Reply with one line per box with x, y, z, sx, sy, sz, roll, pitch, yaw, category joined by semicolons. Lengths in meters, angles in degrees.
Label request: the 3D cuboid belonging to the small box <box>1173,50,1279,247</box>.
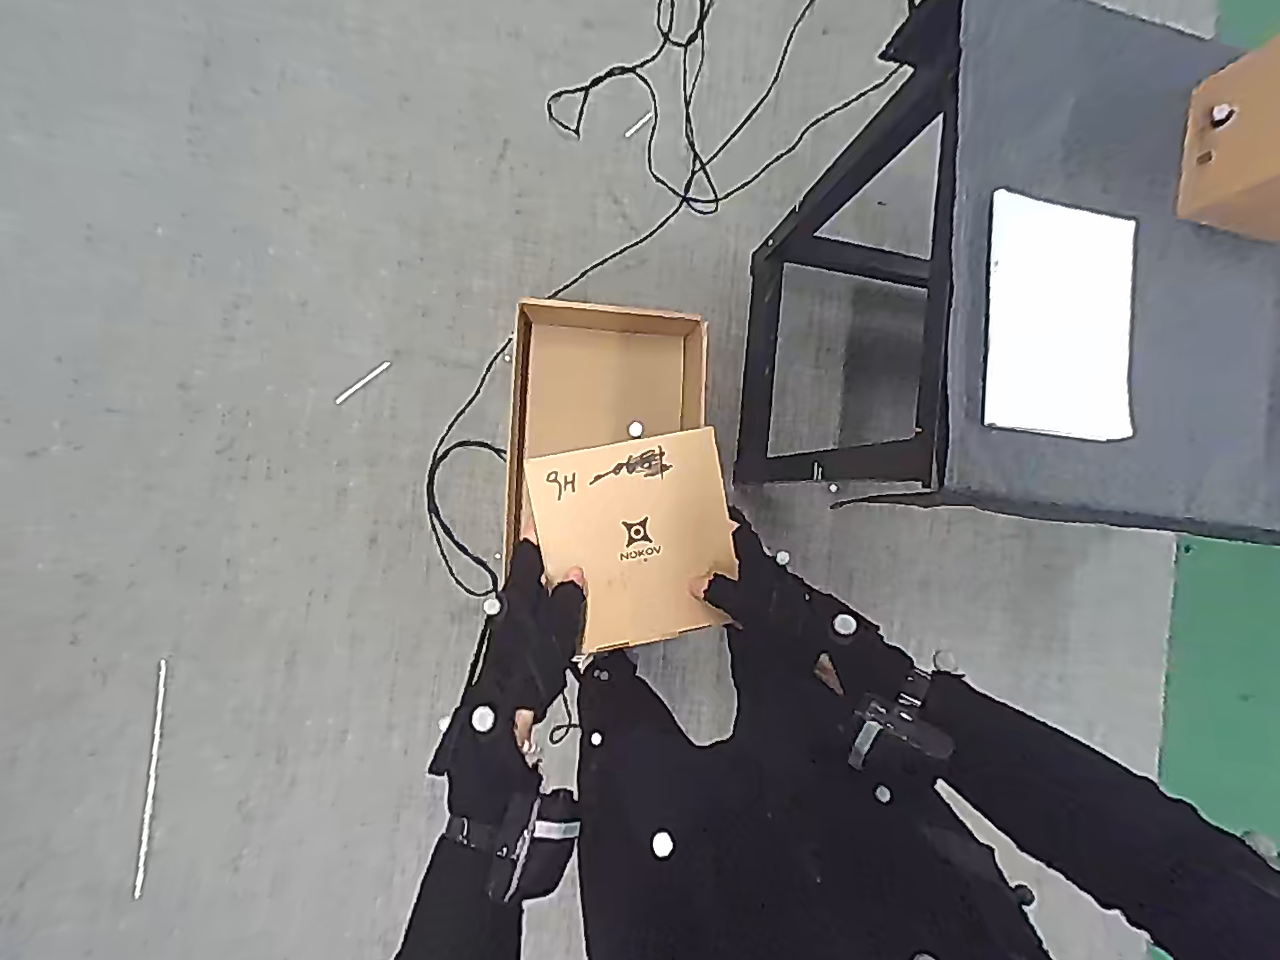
0.768;-0.386;0.606;0.179;0.176;0.168;9;88;-11;small box
